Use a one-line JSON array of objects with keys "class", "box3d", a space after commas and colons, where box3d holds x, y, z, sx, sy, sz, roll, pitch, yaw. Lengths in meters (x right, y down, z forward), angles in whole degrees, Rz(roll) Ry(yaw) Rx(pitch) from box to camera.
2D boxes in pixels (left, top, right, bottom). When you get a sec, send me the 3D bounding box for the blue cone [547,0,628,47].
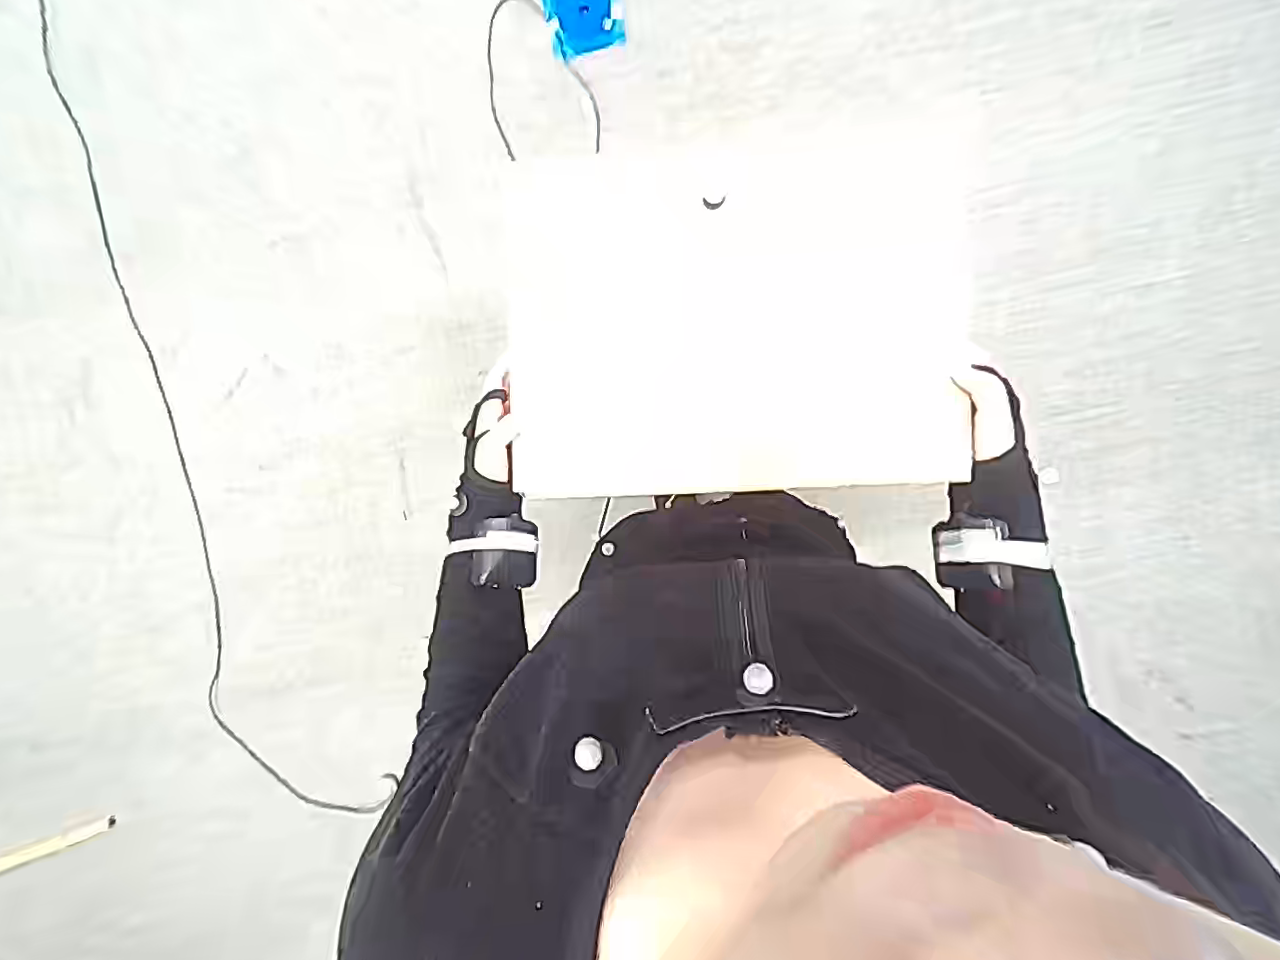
[{"class": "blue cone", "box3d": [-0.144, -1.205, 1.207, 0.193, 0.380, 0.192, -15, 95, 3]}]
